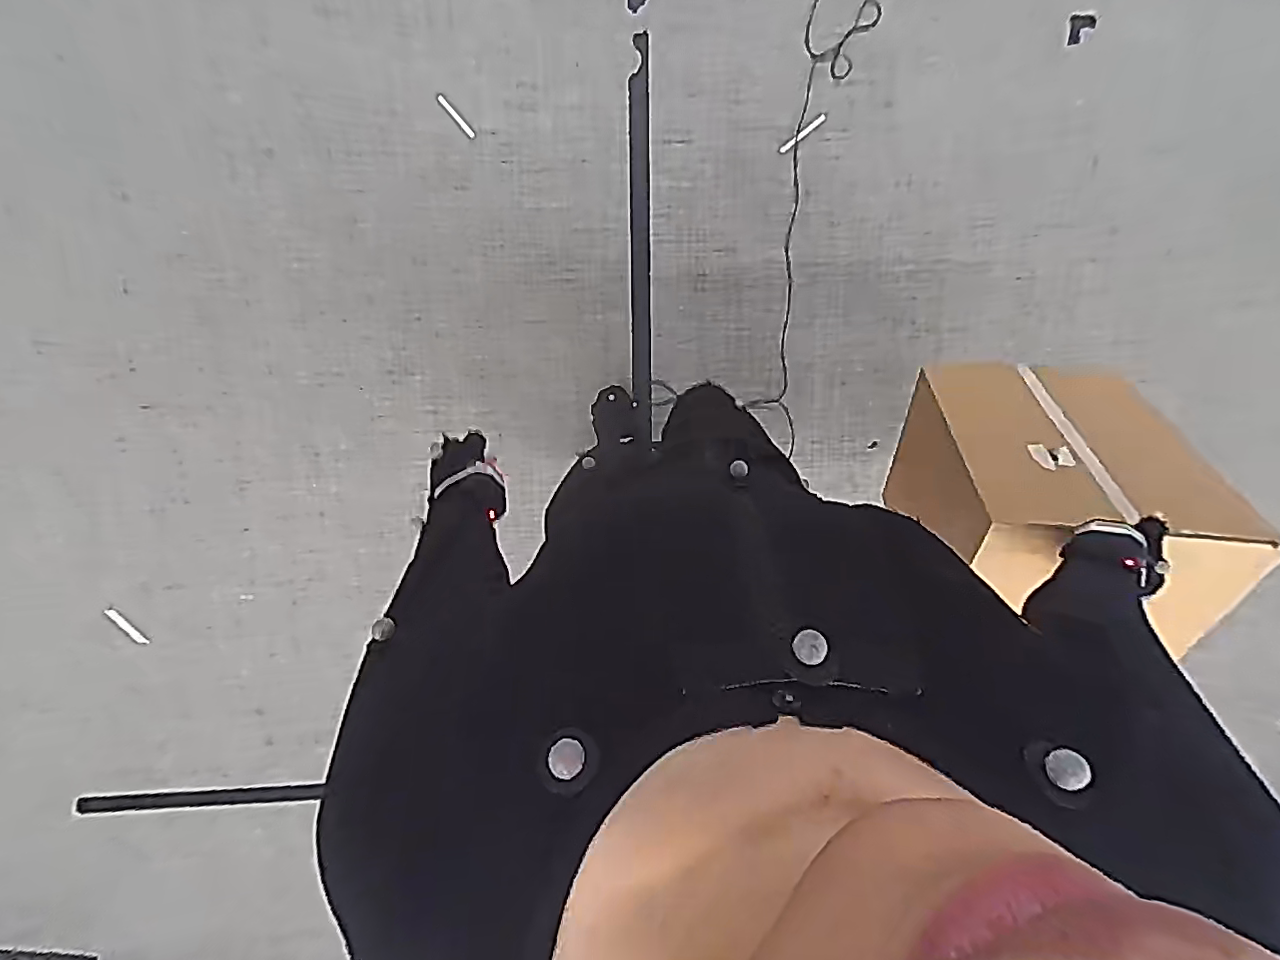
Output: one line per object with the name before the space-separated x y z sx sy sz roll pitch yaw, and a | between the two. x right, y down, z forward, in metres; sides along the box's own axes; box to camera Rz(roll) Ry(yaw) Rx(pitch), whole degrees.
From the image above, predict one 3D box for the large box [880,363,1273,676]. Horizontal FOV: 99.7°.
large box | 0.624 0.047 0.892 0.320 0.408 0.320 4 132 9
